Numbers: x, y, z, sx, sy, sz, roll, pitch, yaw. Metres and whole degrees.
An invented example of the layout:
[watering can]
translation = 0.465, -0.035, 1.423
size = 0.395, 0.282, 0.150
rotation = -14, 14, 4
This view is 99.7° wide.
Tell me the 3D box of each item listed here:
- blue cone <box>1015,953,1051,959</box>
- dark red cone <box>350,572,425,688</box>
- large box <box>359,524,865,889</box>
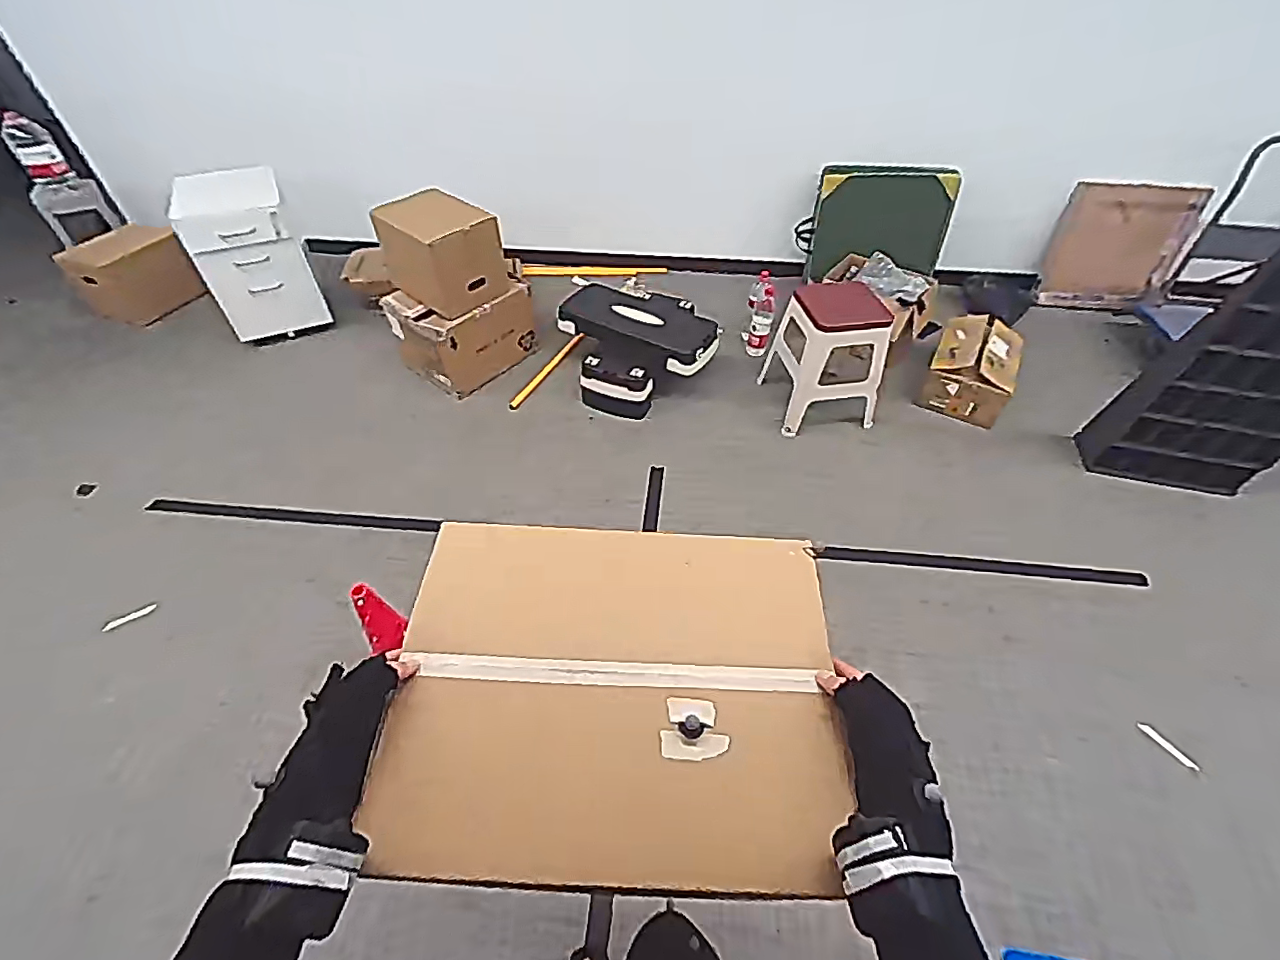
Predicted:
[blue cone]
translation = 0.843, 0.939, 0.926
size = 0.192, 0.380, 0.193
rotation = 8, 48, 5
[dark red cone]
translation = -0.656, 0.360, 1.384
size = 0.201, 0.394, 0.202
rotation = 10, 48, 7
[large box]
translation = -0.024, 0.270, 0.625
size = 0.408, 0.320, 0.320
rotation = 4, 52, -1
